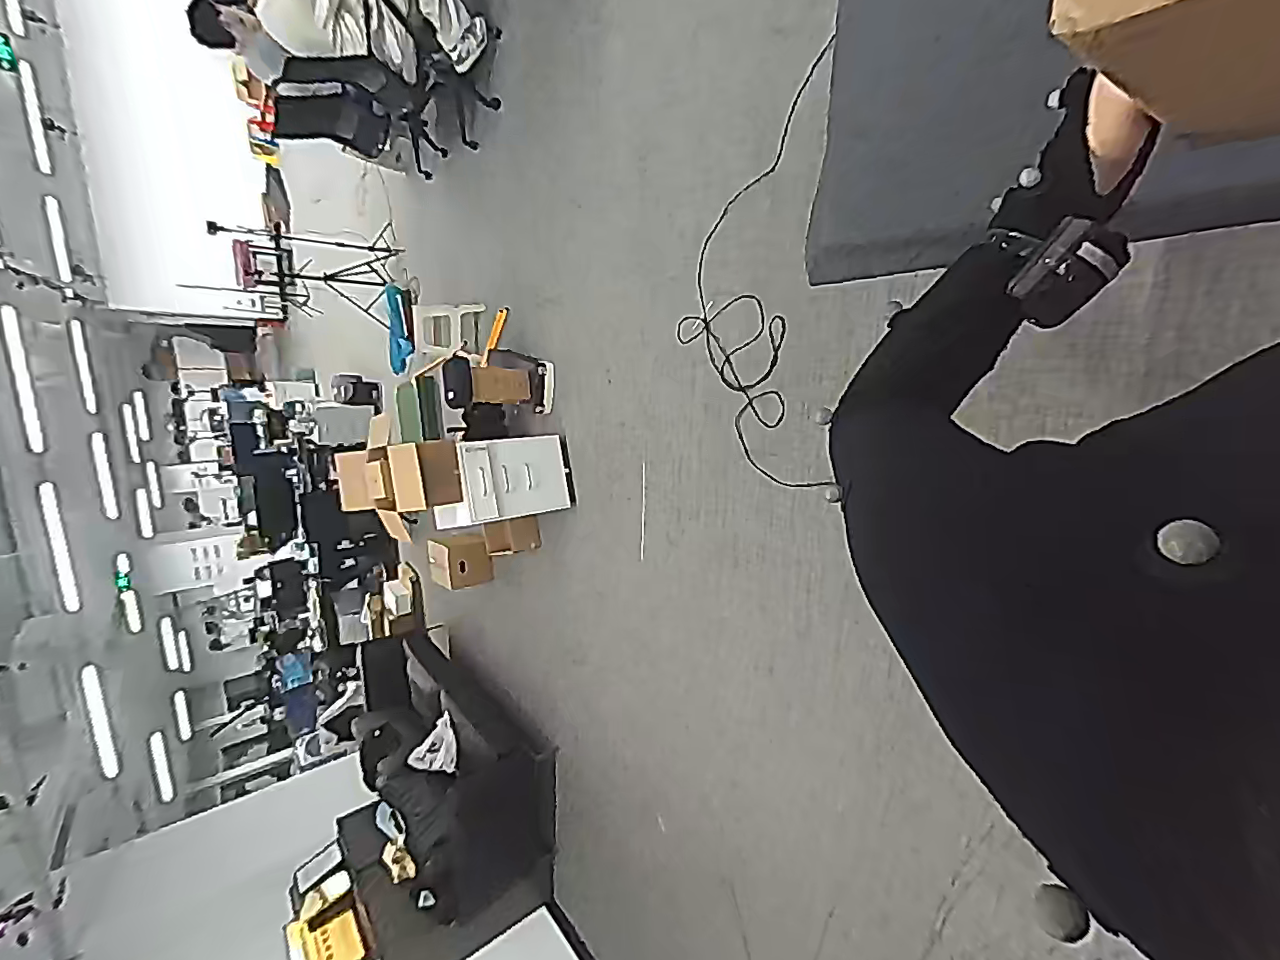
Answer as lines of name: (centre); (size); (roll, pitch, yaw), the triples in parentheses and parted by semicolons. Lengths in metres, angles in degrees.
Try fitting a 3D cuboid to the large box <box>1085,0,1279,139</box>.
large box: (0.421, -0.334, 0.132); (0.408, 0.320, 0.320); (17, 117, 49)
